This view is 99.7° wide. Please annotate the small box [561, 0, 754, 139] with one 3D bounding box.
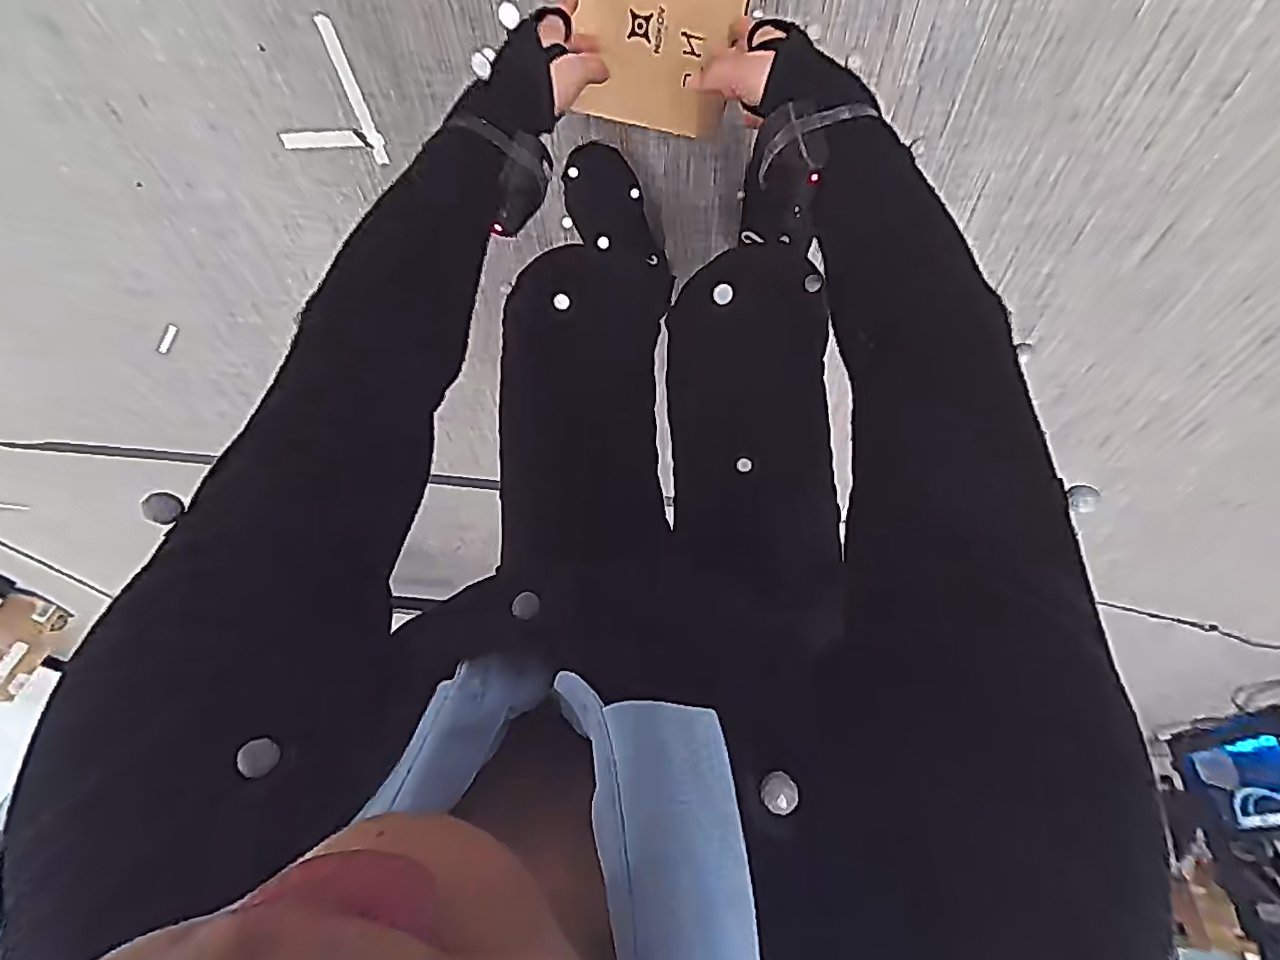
[{"bbox_3d":[0.026,-0.489,0.554,0.179,0.176,0.168,12,145,0],"label":"small box"}]
